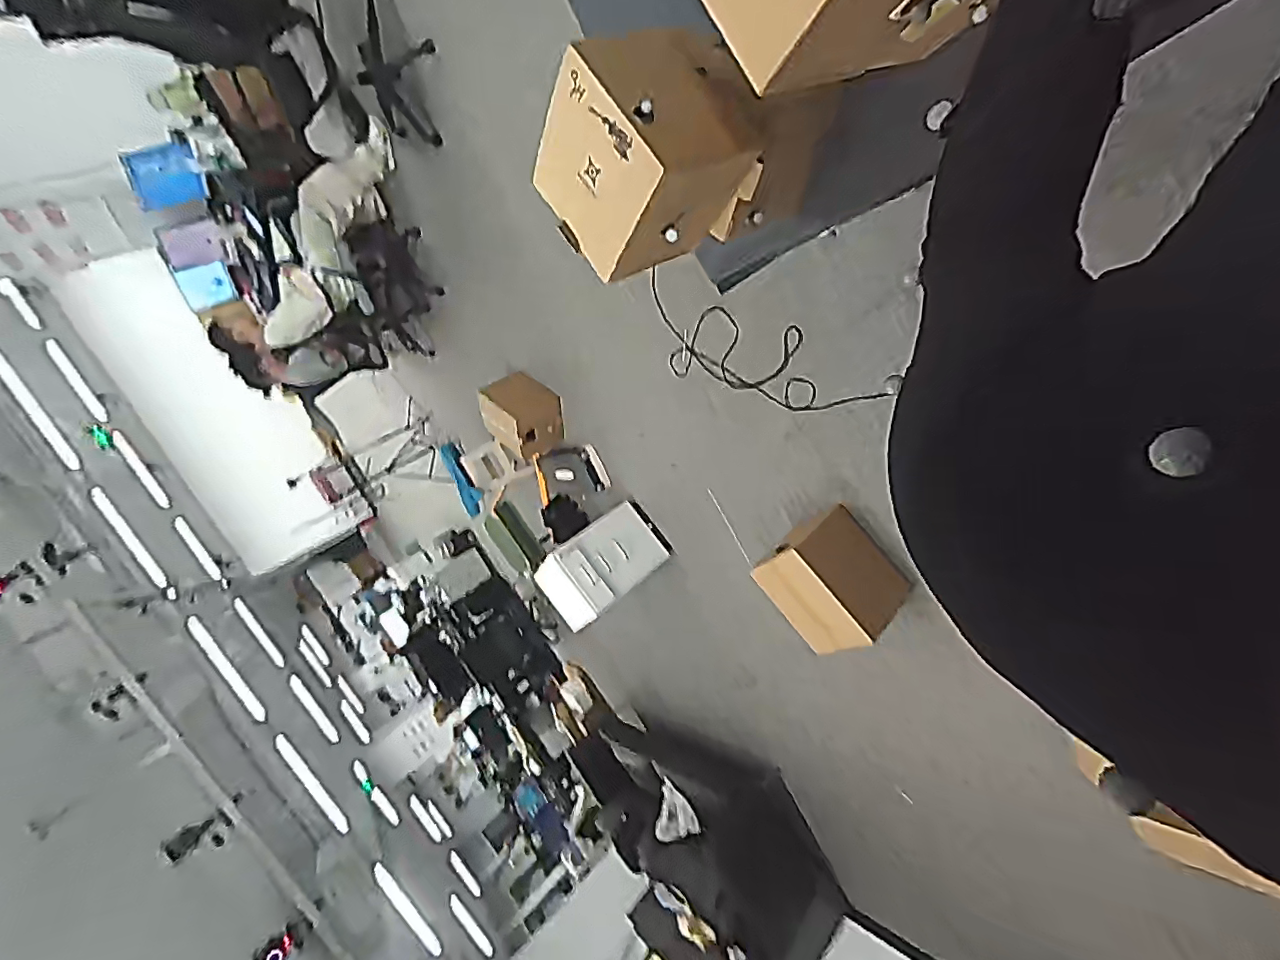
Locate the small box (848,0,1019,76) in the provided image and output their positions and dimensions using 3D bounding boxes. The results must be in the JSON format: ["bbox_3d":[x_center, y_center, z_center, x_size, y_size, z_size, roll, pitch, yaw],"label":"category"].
[{"bbox_3d":[0.265,-0.507,0.482,0.168,0.176,0.179,-7,111,58],"label":"small box"}]

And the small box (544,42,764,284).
[{"bbox_3d":[0.013,-0.373,0.646,0.168,0.176,0.179,55,151,4],"label":"small box"}]

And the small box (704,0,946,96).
[{"bbox_3d":[0.150,-0.431,0.397,0.179,0.176,0.168,57,151,-2],"label":"small box"}]
